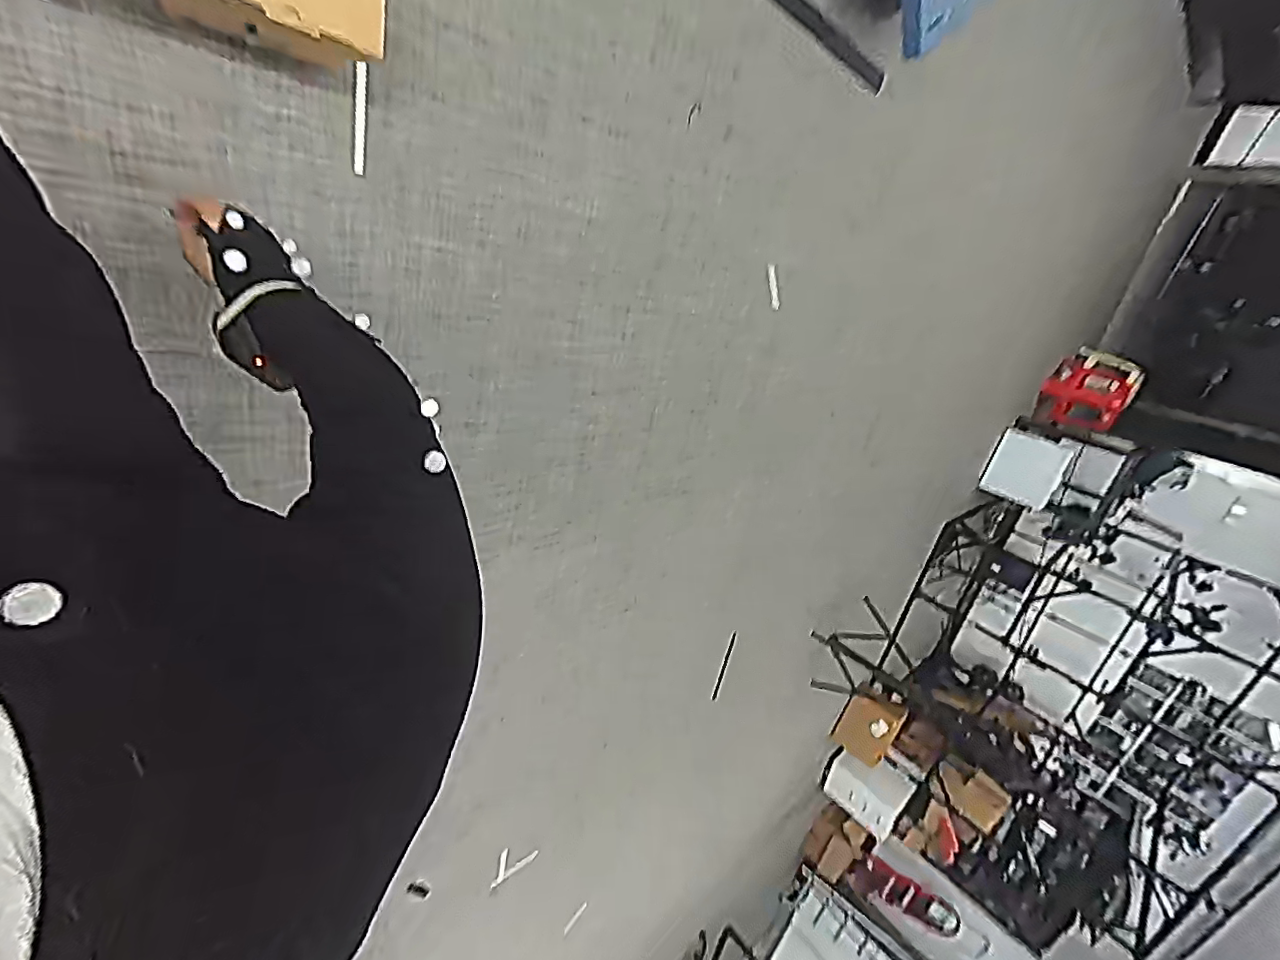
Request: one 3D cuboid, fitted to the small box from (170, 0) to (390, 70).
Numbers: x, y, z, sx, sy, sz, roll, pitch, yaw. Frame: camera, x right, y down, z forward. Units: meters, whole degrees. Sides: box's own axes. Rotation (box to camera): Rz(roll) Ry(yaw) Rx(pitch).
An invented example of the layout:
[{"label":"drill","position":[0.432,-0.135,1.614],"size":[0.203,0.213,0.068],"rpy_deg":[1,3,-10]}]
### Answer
[{"label":"small box","position":[-0.356,-0.534,0.523],"size":[0.168,0.176,0.179],"rpy_deg":[-9,121,-45]}]
